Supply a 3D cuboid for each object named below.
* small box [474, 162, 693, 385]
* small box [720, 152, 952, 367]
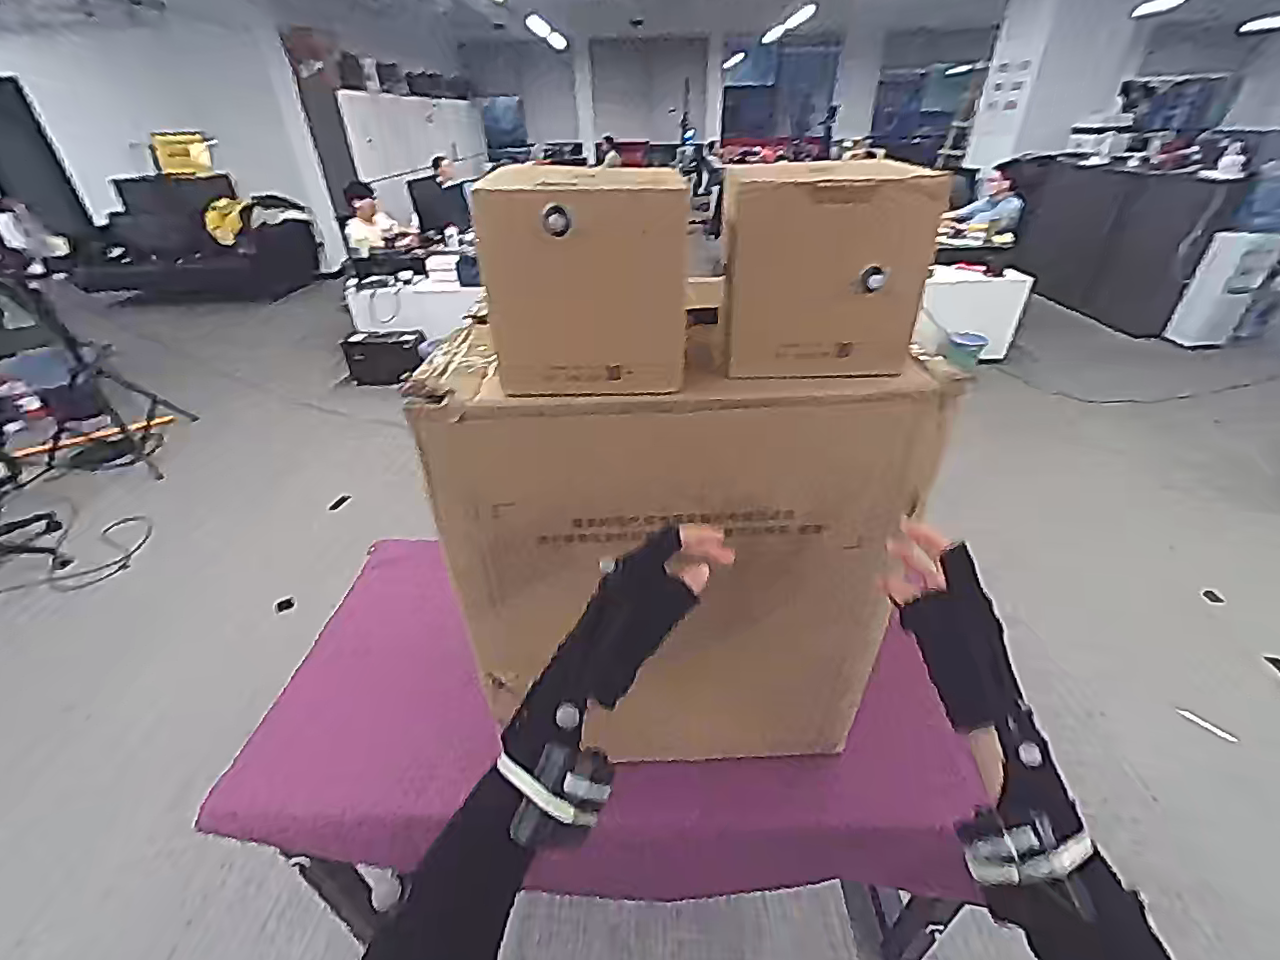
[{"bbox_3d":[-0.042,-0.199,0.509,0.168,0.176,0.179,-1,33,0],"label":"small box"},{"bbox_3d":[0.169,-0.217,0.532,0.168,0.176,0.179,1,33,4],"label":"small box"}]
